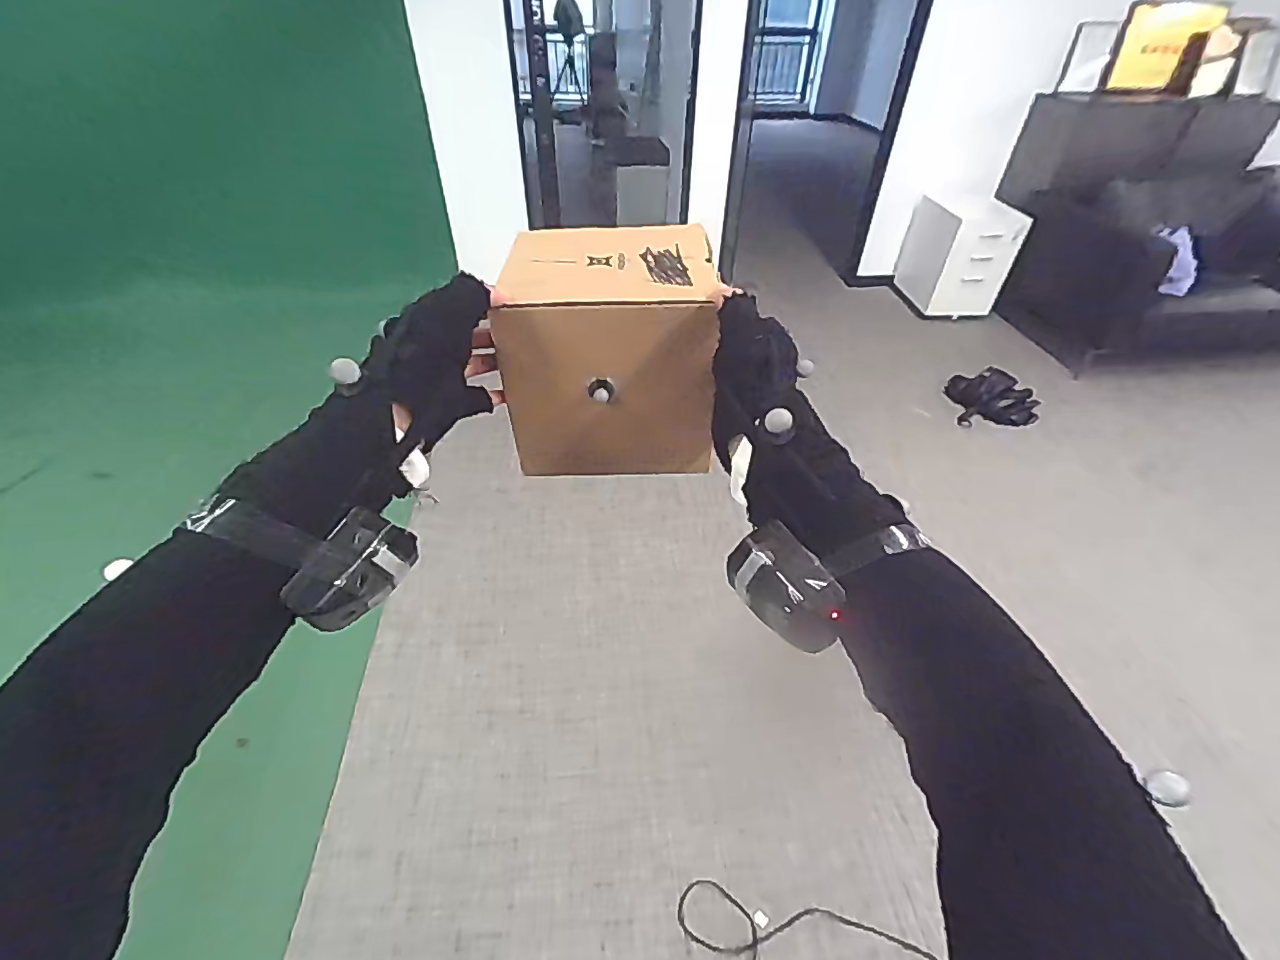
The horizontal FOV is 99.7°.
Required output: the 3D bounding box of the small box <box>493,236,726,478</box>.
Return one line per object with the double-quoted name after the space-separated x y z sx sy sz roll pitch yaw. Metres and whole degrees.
-0.021 -0.115 0.512 0.179 0.176 0.168 -2 41 1 "small box"
